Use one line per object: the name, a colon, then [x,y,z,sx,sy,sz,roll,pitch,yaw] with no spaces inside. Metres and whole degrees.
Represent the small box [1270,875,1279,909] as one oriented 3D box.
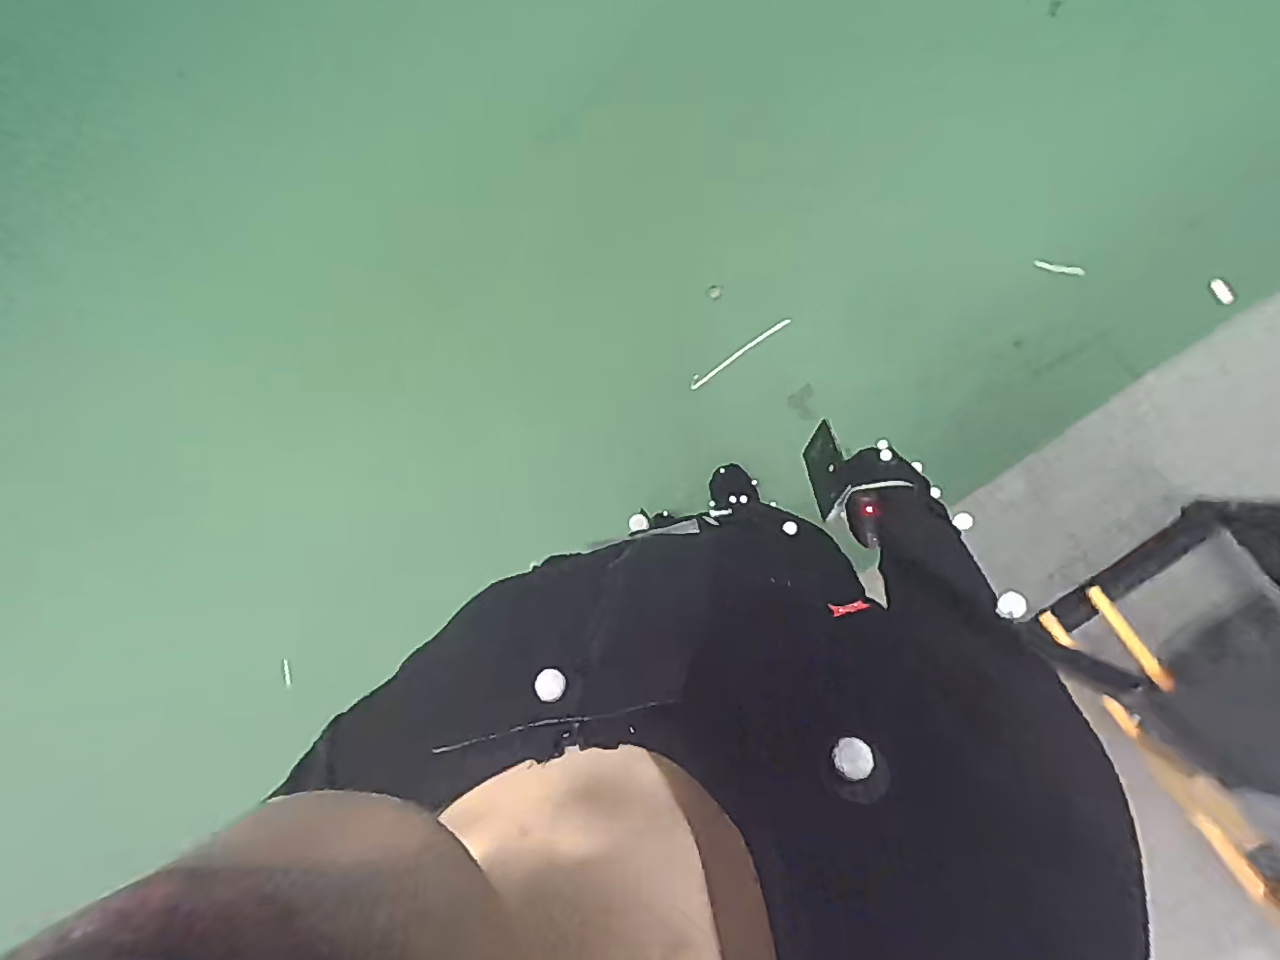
small box: [1.498,0.931,1.123,0.179,0.176,0.168,-34,86,6]
